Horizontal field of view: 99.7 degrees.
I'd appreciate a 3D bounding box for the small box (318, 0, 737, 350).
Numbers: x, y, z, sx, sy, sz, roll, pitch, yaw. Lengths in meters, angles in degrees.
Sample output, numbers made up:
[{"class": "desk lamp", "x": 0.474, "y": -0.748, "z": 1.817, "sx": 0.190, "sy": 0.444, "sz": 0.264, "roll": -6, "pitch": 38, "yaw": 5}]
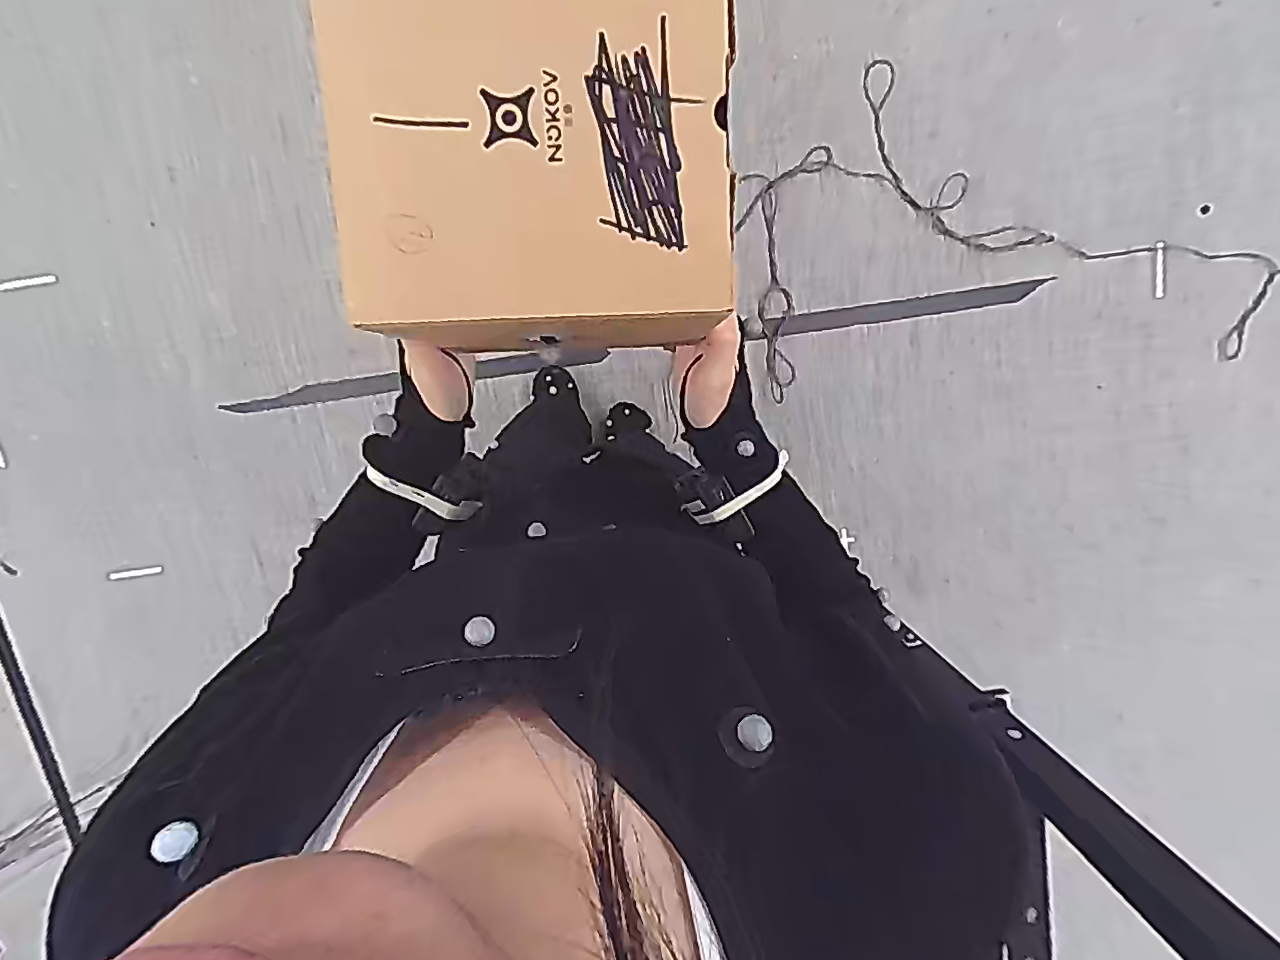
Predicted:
[{"class": "small box", "x": -0.046, "y": -0.167, "z": 0.312, "sx": 0.179, "sy": 0.176, "sz": 0.168, "roll": -2, "pitch": 99, "yaw": 1}]
